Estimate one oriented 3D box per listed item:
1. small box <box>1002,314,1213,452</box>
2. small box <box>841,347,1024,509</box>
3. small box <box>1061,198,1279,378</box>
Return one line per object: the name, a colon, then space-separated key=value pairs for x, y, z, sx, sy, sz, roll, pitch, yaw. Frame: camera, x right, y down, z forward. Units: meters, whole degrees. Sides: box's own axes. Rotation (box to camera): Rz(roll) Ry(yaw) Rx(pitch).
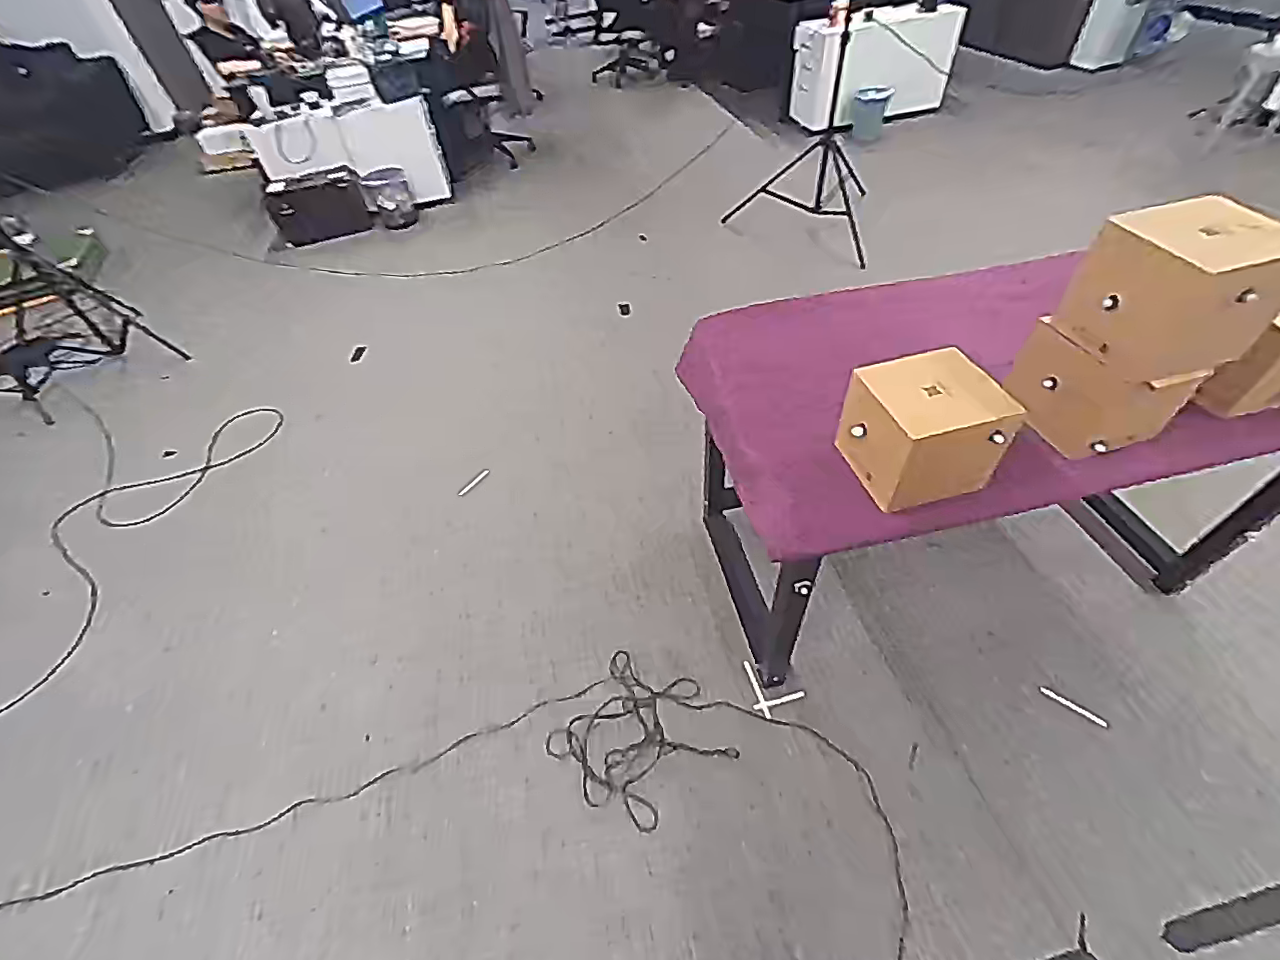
small box: x=0.747 y=-0.165 z=0.886 sx=0.168 sy=0.176 sz=0.179 roll=-14 pitch=49 yaw=-7
small box: x=0.435 y=-0.077 z=0.846 sx=0.179 sy=0.176 sz=0.168 roll=-14 pitch=49 yaw=-6
small box: x=0.741 y=-0.263 z=0.753 sx=0.179 sy=0.176 sz=0.168 roll=-12 pitch=50 yaw=-5
